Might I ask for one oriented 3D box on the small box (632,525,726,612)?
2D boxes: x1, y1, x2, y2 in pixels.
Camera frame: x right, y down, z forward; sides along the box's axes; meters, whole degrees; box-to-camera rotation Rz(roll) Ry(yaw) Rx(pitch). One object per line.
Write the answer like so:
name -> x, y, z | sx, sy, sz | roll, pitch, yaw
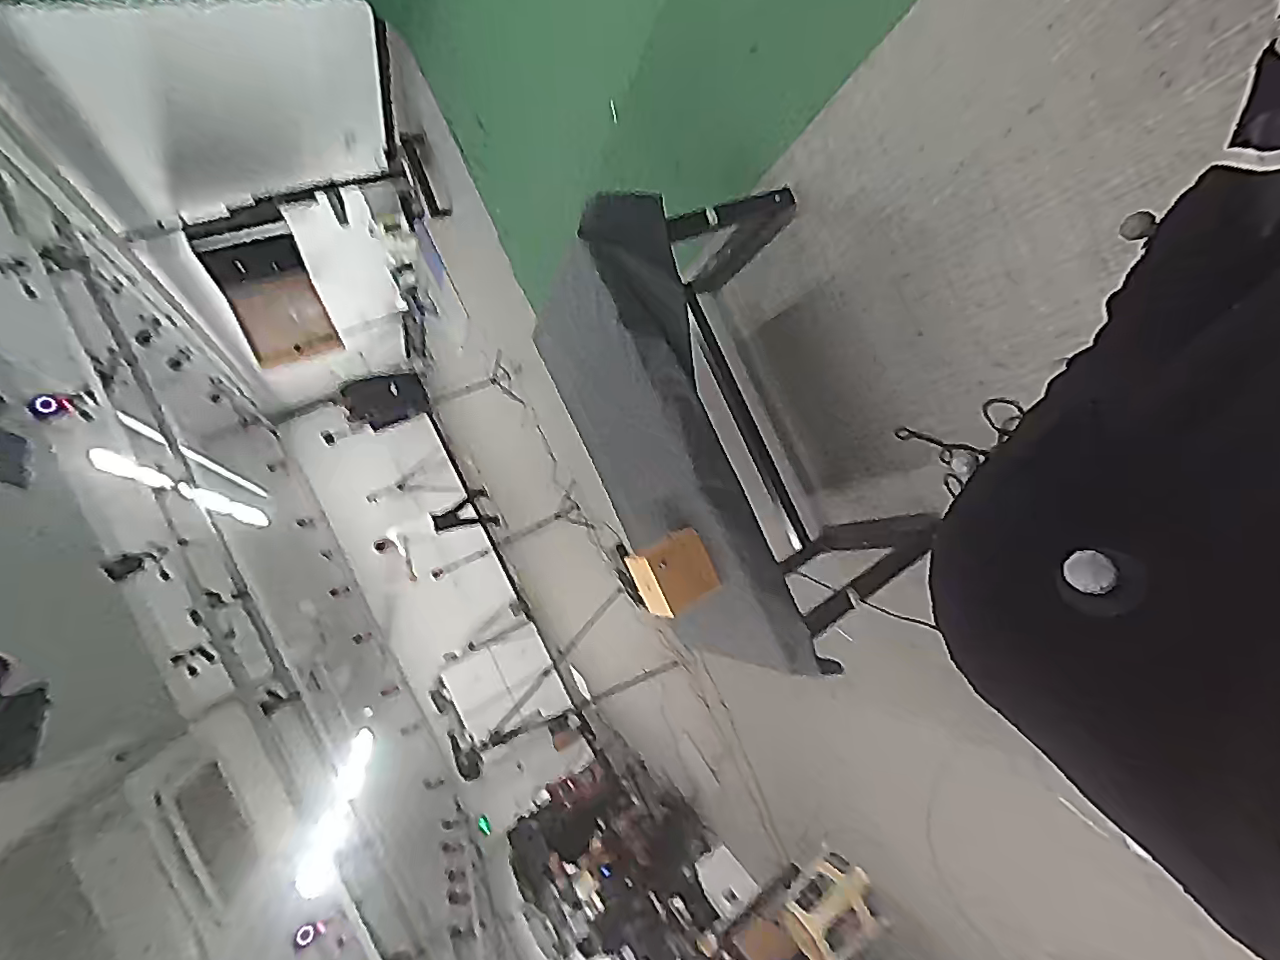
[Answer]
small box -> 0.109, 0.242, 1.490 | 0.179, 0.176, 0.168 | 64, 158, 1
